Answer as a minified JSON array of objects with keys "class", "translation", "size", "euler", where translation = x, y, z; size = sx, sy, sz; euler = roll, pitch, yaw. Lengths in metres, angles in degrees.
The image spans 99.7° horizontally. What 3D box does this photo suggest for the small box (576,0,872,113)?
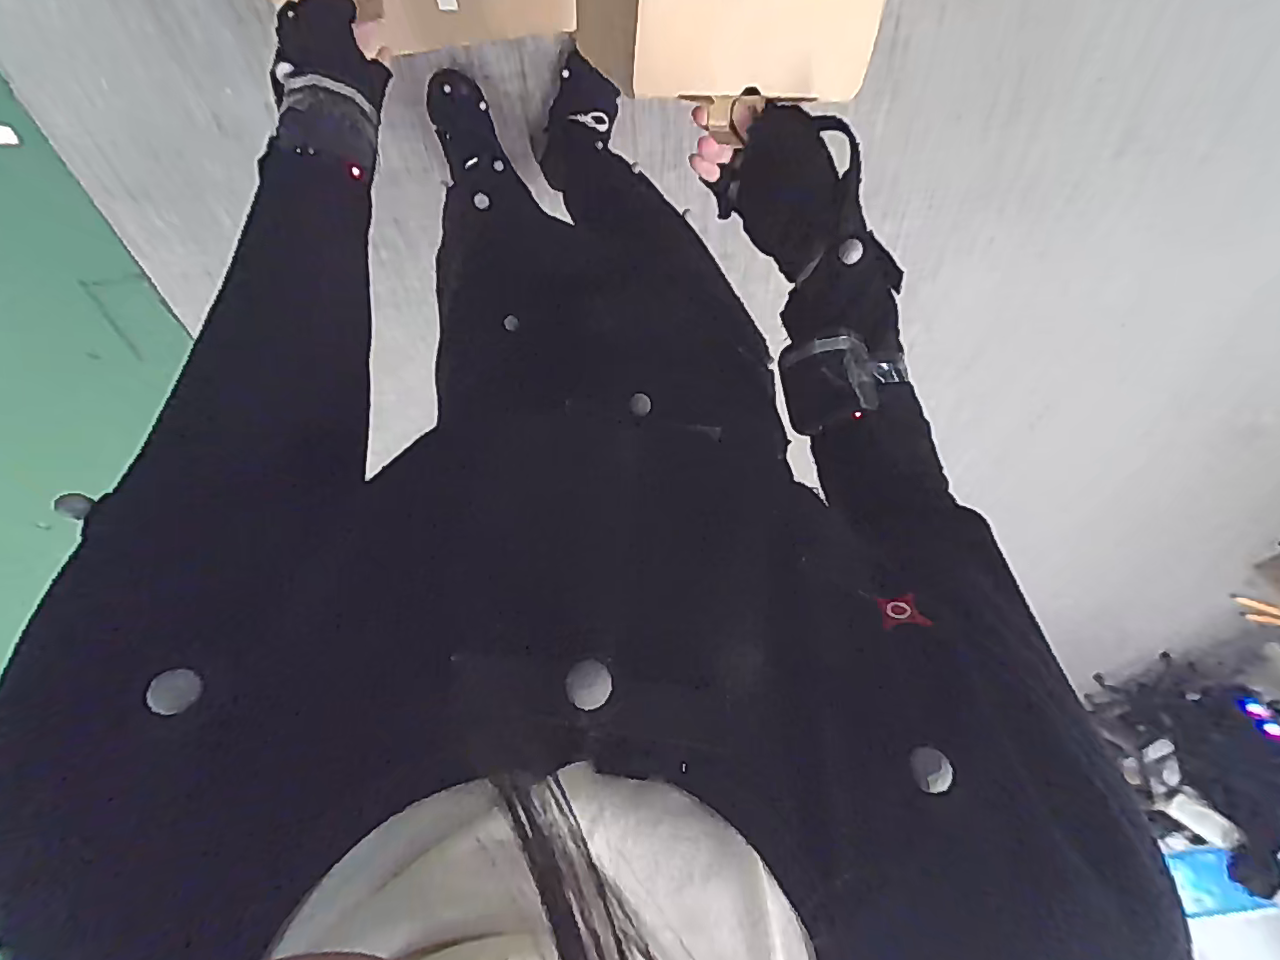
[{"class":"small box","translation":[0.051,-0.372,0.362],"size":[0.168,0.176,0.179],"euler":[-10,139,-13]}]
